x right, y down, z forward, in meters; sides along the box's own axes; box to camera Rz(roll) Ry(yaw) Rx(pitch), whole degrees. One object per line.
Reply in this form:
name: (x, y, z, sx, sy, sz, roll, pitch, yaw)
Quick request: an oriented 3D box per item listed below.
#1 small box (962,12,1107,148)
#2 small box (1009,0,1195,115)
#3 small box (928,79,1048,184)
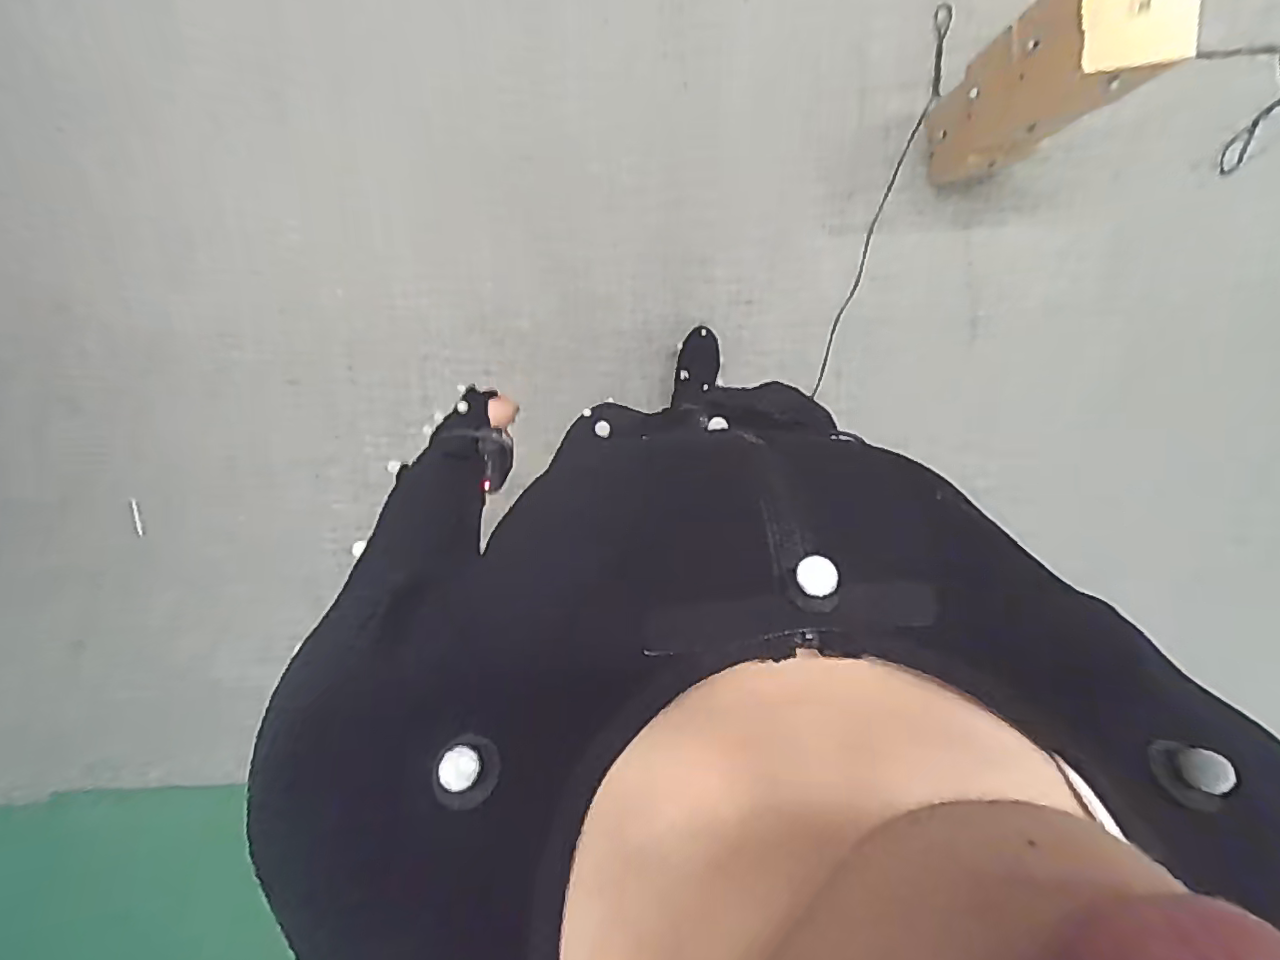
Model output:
small box: (0.766, -0.781, 1.059, 0.179, 0.176, 0.168, -6, 100, 3)
small box: (0.759, -0.744, 0.901, 0.179, 0.176, 0.168, -7, 101, 3)
small box: (0.775, -0.794, 1.223, 0.179, 0.176, 0.168, -10, 101, 2)
